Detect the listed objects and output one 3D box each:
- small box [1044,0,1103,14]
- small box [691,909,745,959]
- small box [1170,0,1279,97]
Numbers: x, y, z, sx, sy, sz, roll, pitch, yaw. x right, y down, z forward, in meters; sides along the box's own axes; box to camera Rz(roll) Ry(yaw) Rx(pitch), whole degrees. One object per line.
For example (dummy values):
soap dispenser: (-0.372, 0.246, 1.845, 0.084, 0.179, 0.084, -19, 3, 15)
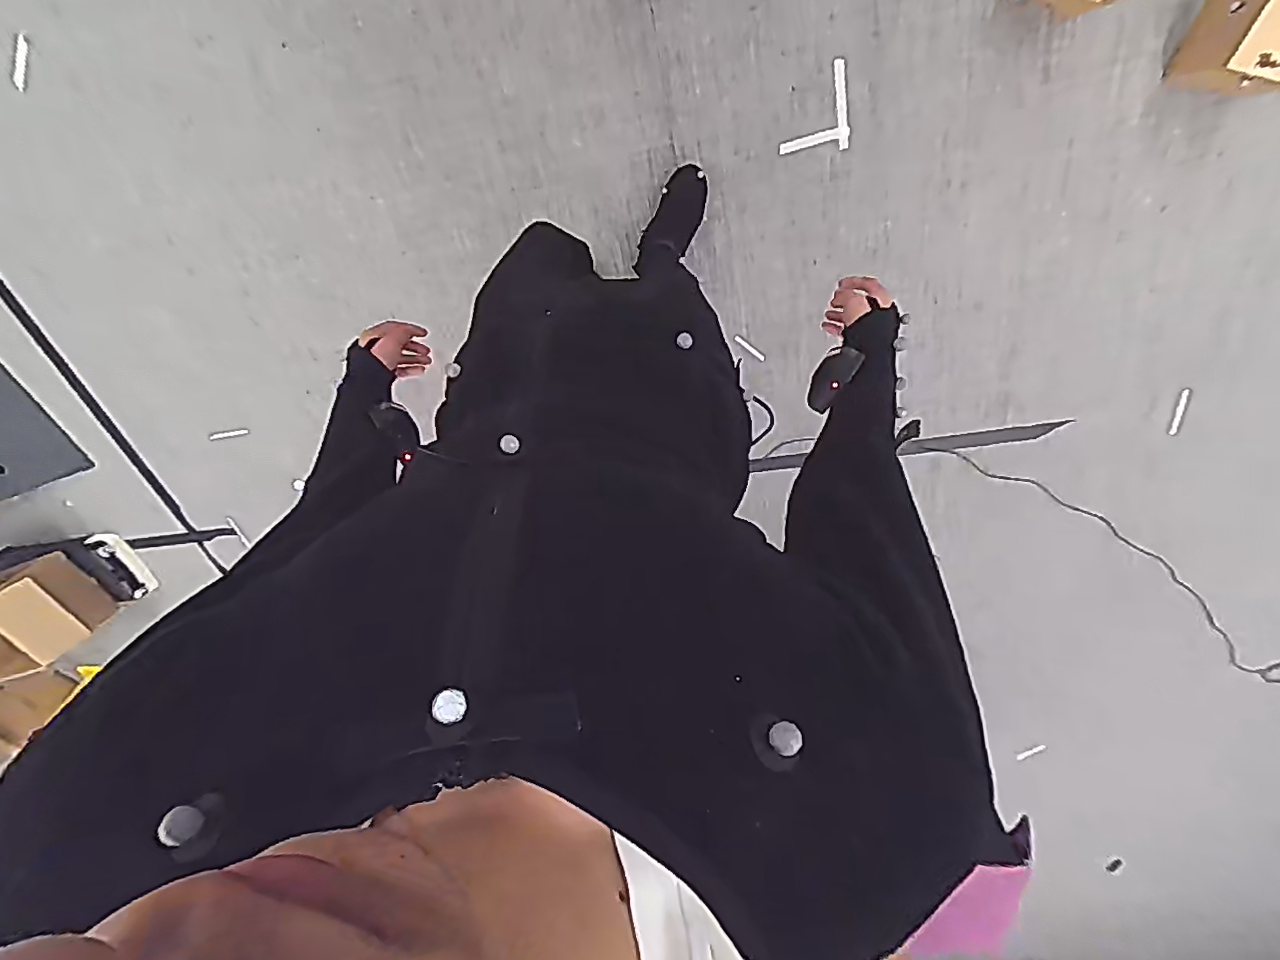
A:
small box: (0.833, -1.005, 0.993, 0.168, 0.176, 0.179, 19, 121, -6)
small box: (0.248, 1.513, 1.724, 0.168, 0.176, 0.179, -2, 119, 7)
small box: (1.202, -0.867, 1.038, 0.168, 0.176, 0.179, 13, 121, -2)
